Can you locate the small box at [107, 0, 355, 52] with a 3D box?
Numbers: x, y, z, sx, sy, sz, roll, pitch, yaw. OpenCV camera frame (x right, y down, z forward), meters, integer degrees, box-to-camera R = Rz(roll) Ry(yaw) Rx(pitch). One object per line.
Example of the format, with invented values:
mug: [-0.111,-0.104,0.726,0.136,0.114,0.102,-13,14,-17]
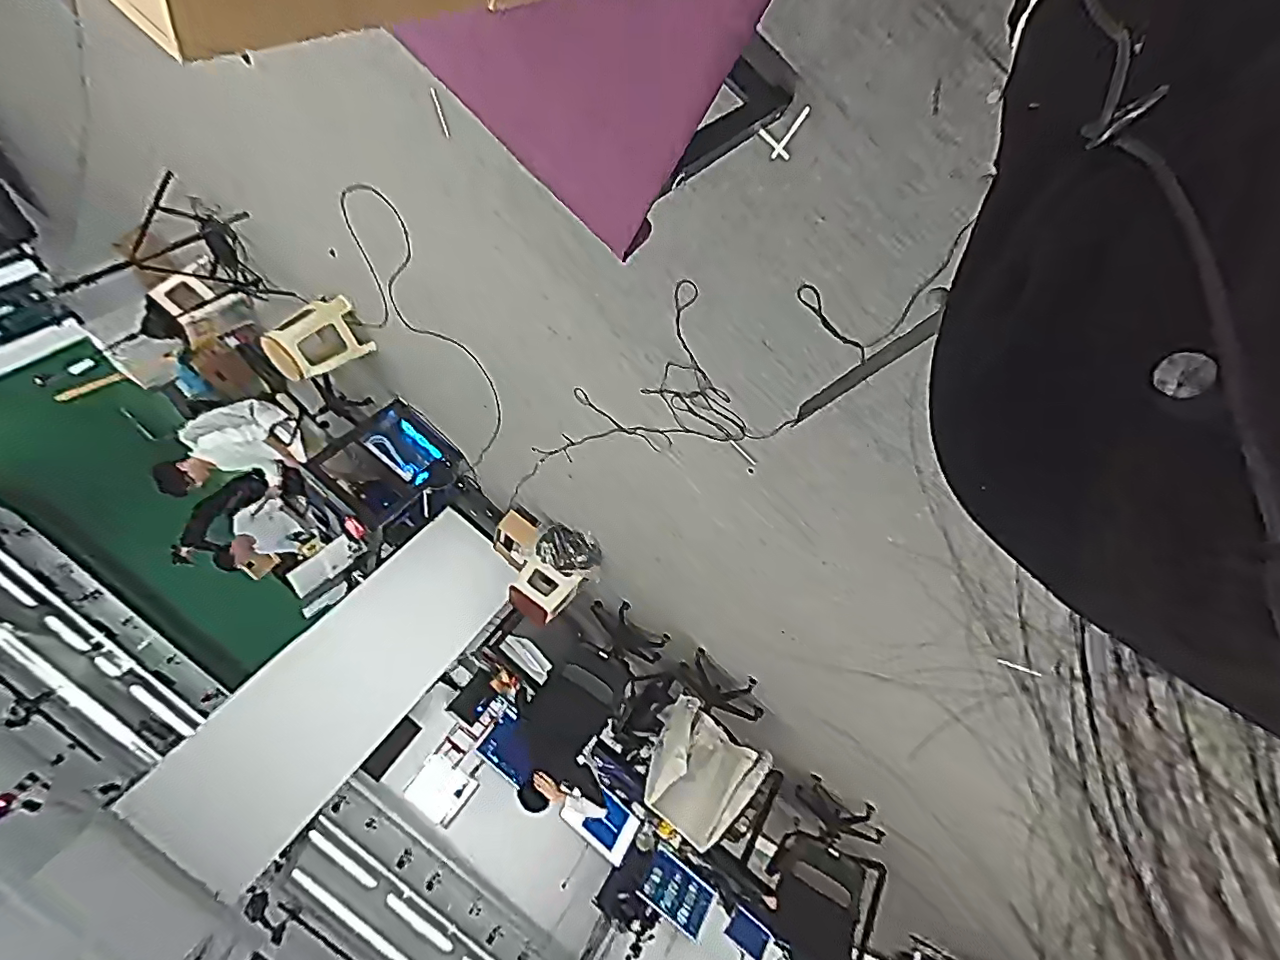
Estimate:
small box: [-0.327,-0.451,0.371,0.179,0.176,0.168,44,146,-6]

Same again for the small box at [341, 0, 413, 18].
small box: [-0.241,-0.555,0.465,0.179,0.176,0.168,45,147,-4]
